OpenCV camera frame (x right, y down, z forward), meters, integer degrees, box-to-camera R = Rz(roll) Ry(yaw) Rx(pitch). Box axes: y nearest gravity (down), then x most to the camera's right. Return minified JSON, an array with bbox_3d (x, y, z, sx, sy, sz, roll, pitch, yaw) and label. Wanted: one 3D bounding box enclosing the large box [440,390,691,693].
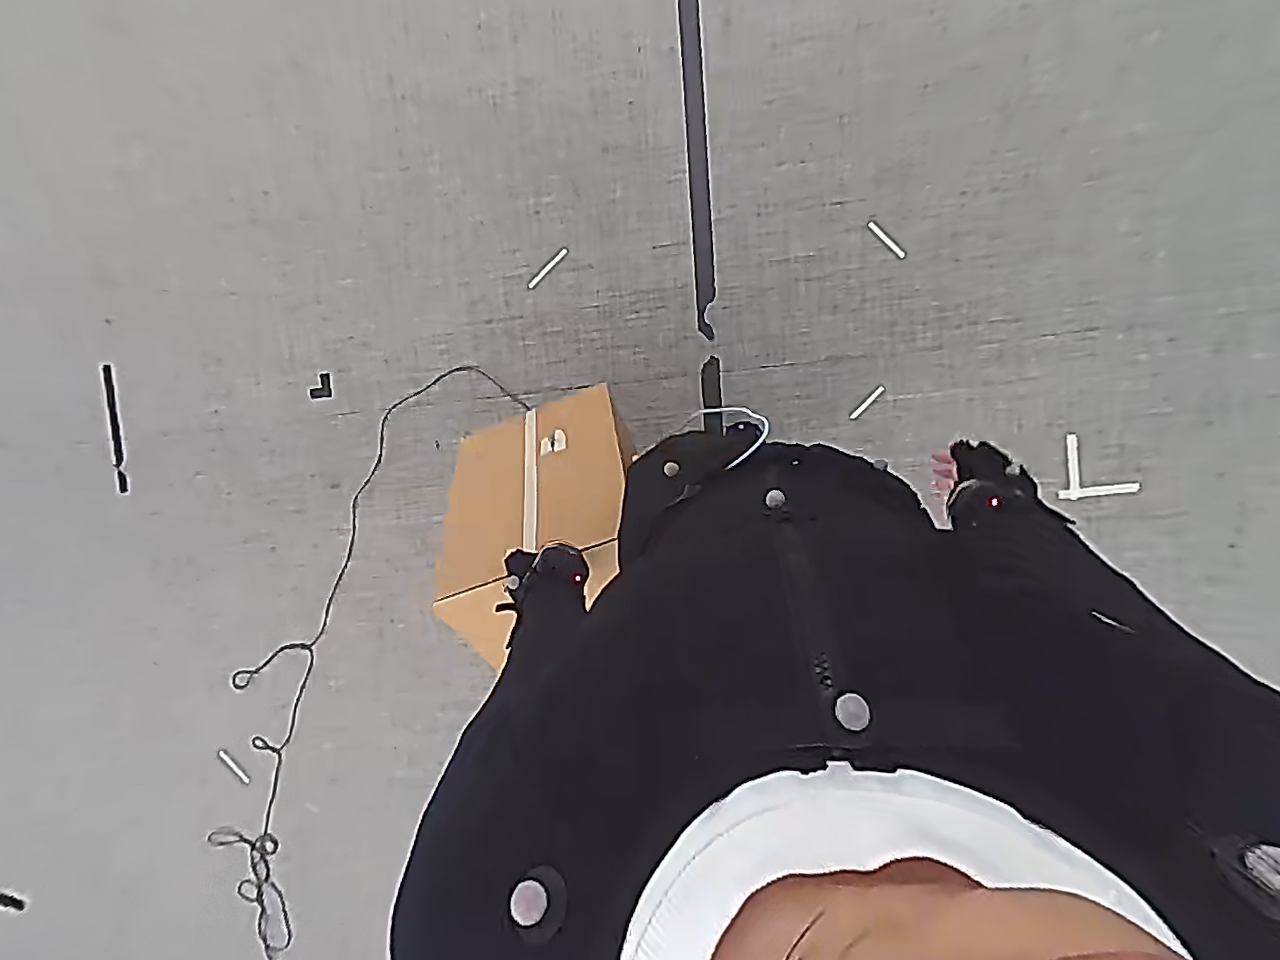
[{"bbox_3d":[-0.128,0.105,0.998,0.320,0.408,0.320,-19,130,5],"label":"large box"}]
